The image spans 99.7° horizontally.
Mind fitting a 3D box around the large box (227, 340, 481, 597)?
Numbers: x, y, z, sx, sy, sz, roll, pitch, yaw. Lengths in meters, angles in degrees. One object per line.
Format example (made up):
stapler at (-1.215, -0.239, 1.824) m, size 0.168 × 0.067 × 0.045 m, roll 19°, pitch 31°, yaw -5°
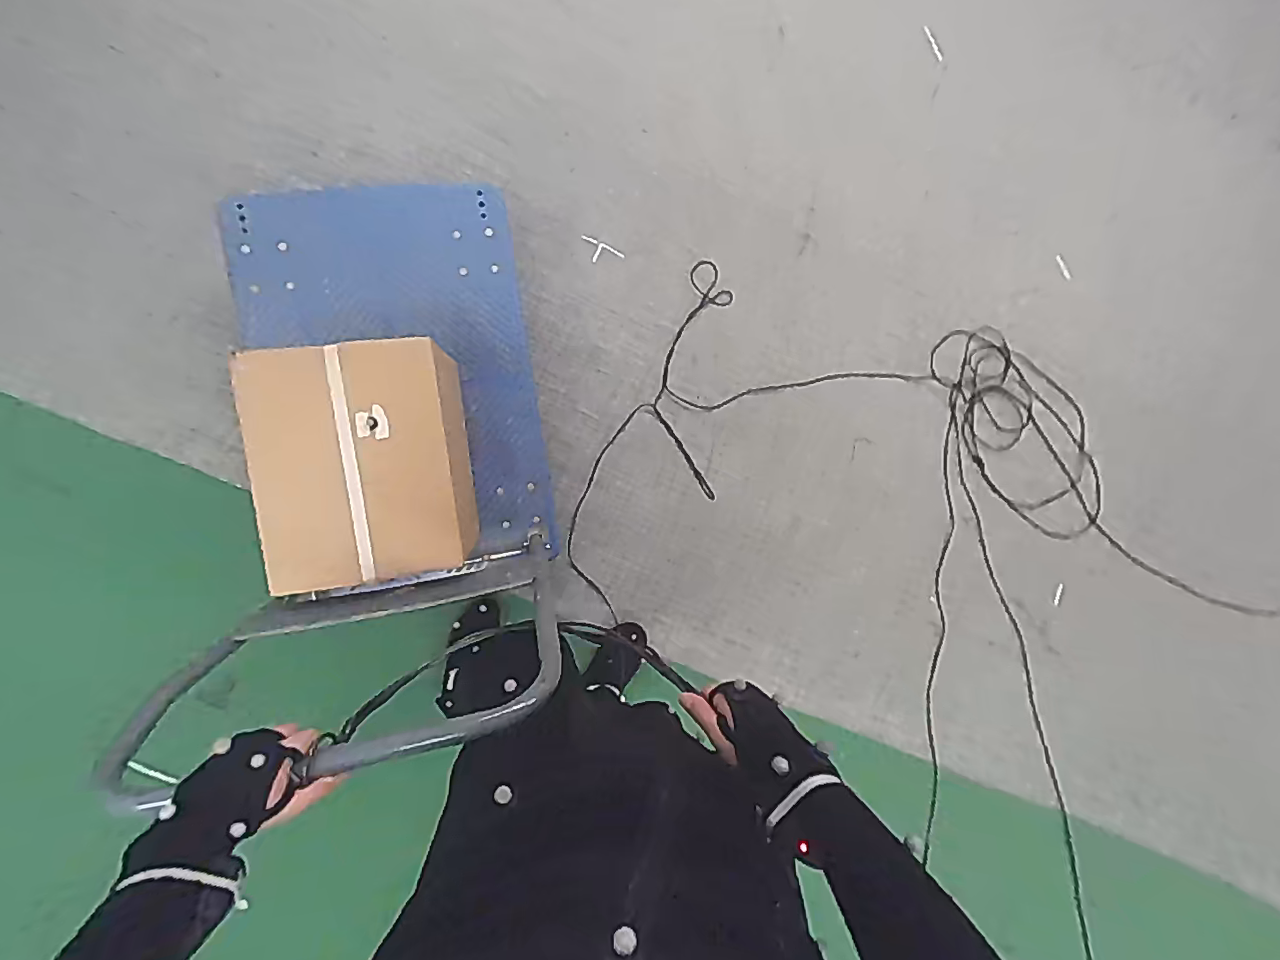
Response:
large box at (-0.513, -0.028, 1.054) m, size 0.320 × 0.320 × 0.408 m, roll -9°, pitch 95°, yaw -11°
